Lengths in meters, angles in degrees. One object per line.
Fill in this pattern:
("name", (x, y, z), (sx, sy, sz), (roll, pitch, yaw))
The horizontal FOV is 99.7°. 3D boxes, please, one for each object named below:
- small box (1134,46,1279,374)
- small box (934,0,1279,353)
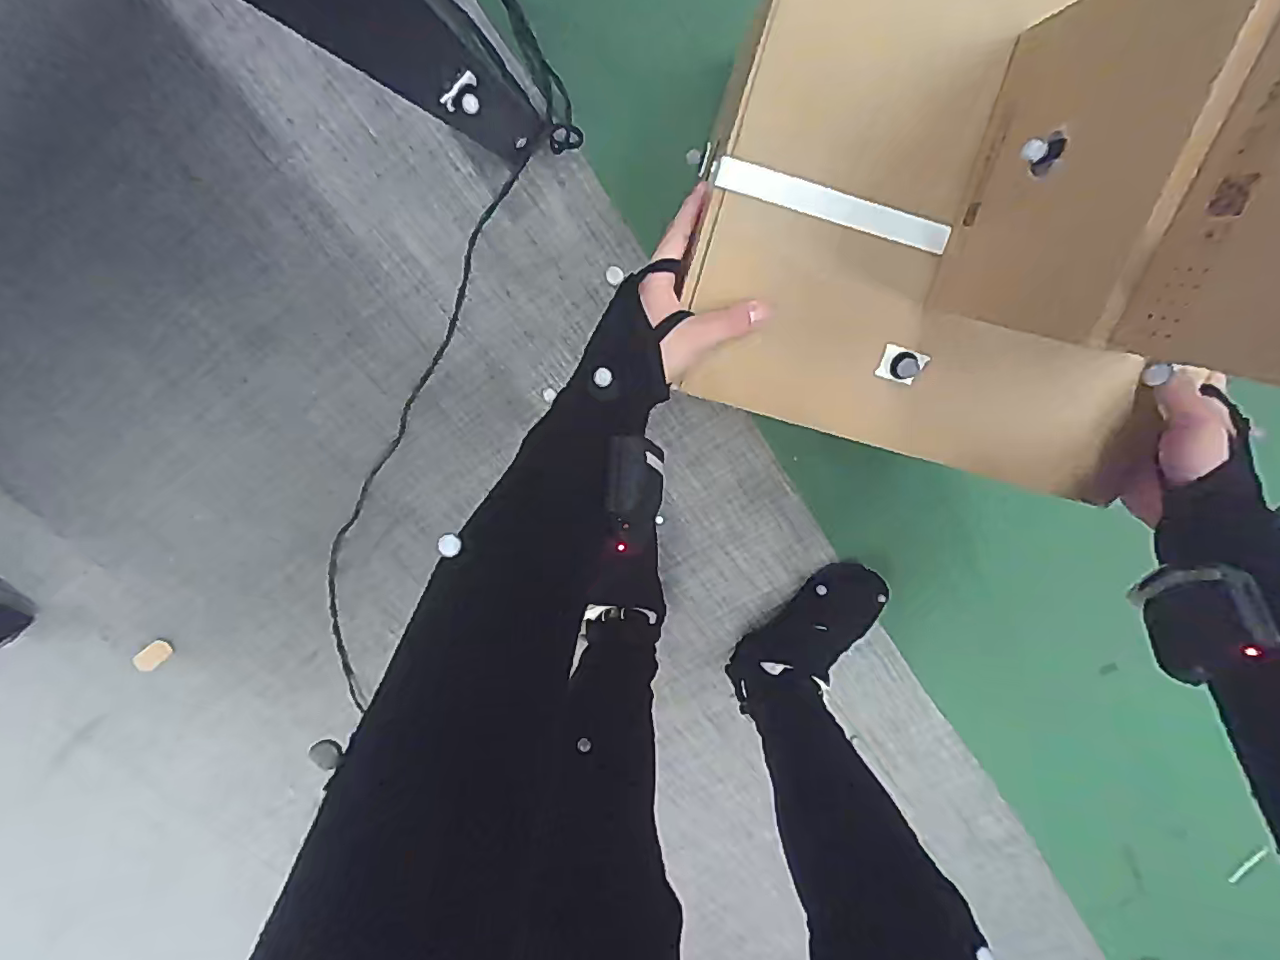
("small box", (0.308, -0.093, 0.145), (0.179, 0.176, 0.168), (10, 114, -2))
("small box", (0.301, -0.160, 0.295), (0.179, 0.176, 0.168), (9, 114, -3))
